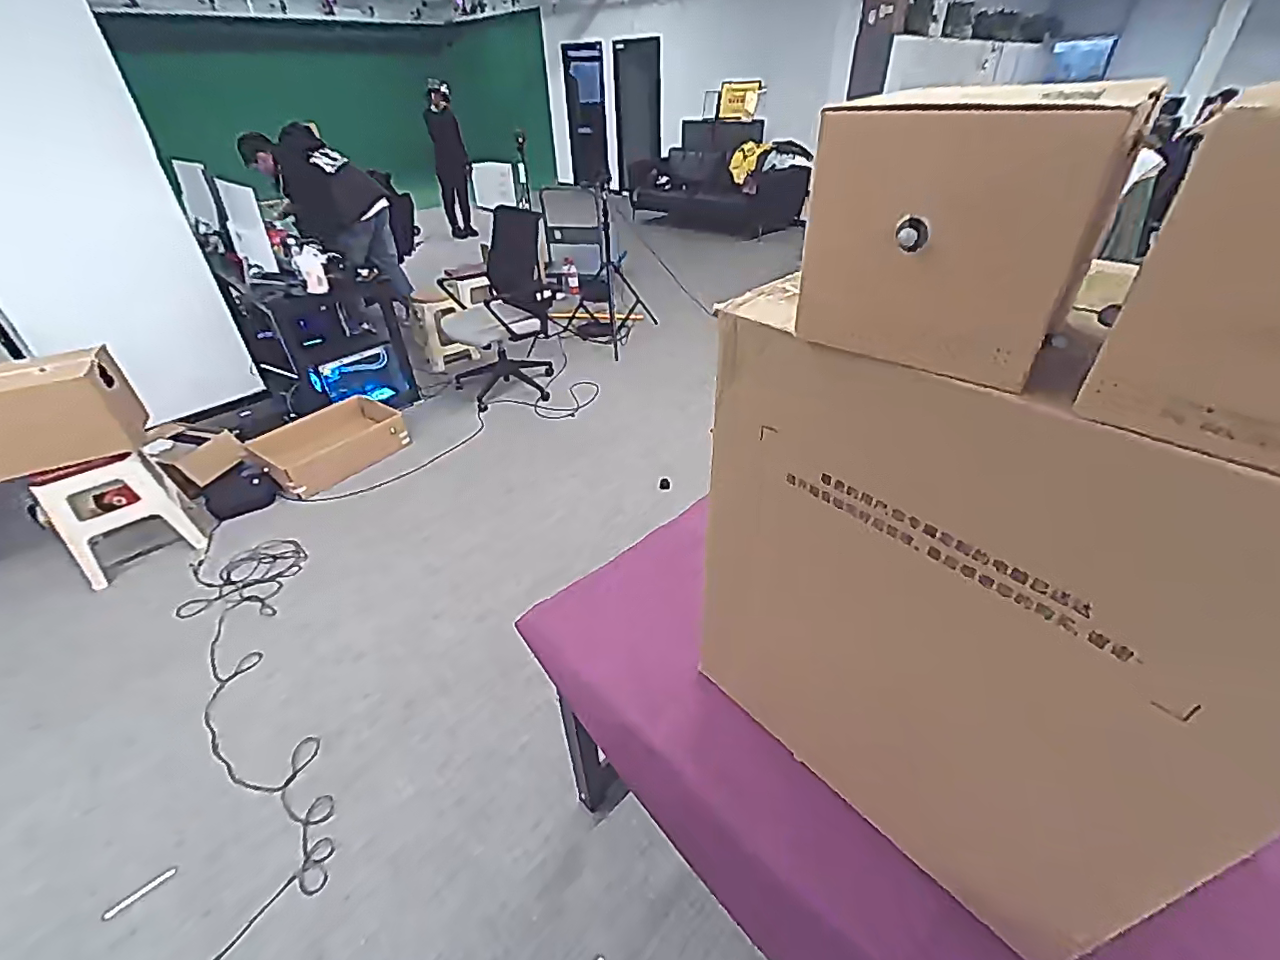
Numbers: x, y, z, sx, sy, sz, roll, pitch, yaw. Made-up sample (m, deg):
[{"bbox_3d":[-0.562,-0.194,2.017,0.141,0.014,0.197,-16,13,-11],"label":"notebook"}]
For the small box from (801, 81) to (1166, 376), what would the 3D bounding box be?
[{"bbox_3d":[0.248,-0.197,0.420,0.179,0.176,0.168,25,46,34],"label":"small box"}]

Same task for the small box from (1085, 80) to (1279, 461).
[{"bbox_3d":[0.394,-0.117,0.301,0.179,0.176,0.168,-32,46,-32],"label":"small box"}]
